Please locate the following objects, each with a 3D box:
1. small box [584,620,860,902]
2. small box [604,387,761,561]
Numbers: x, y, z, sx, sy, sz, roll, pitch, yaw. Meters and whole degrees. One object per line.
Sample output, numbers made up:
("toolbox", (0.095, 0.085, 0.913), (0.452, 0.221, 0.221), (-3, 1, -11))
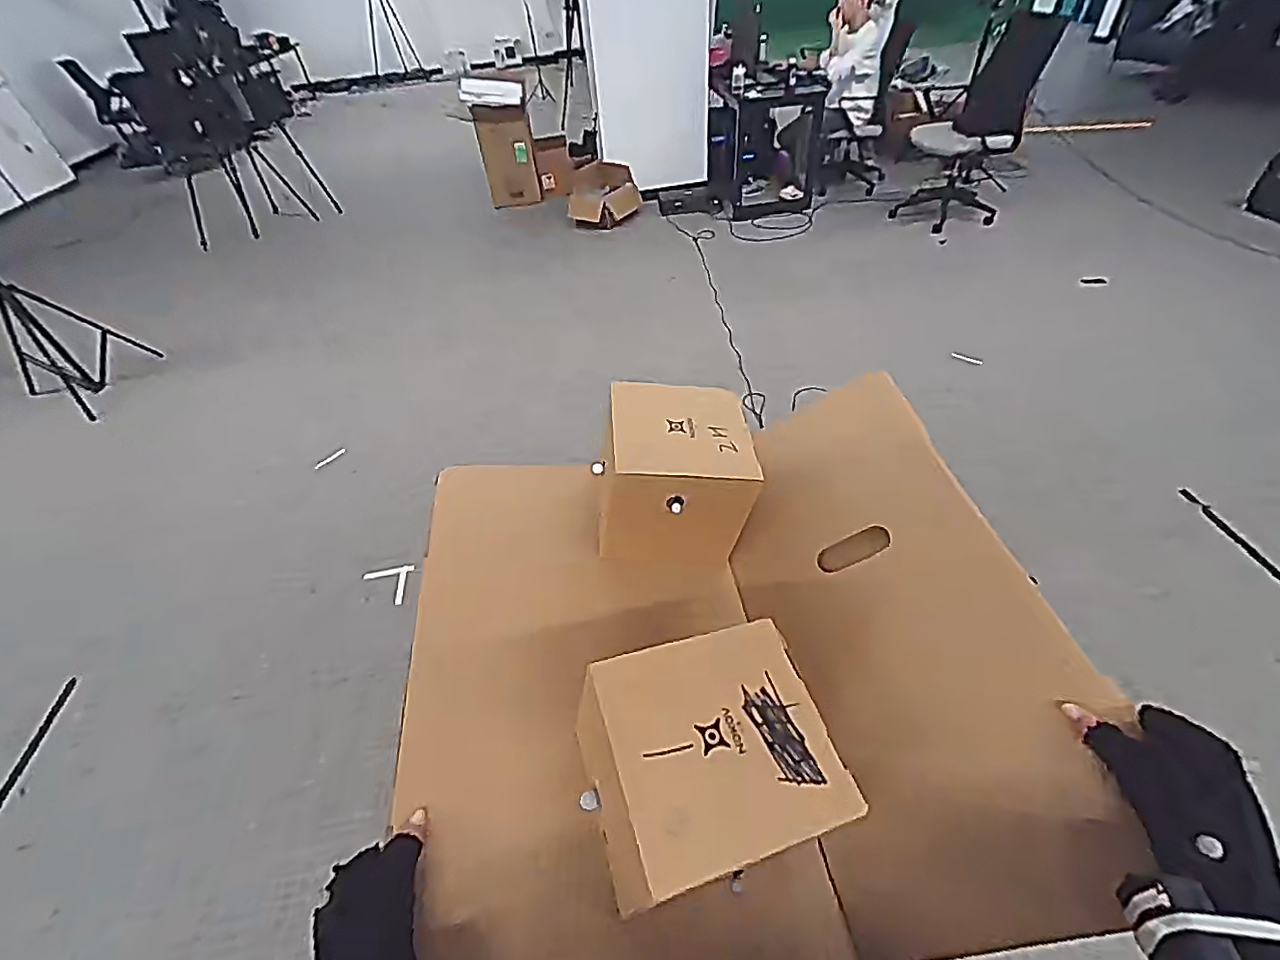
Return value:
("small box", (0.055, 0.255, 0.495), (0.179, 0.176, 0.168), (-9, 50, -18))
("small box", (0.042, -0.004, 0.730), (0.179, 0.176, 0.168), (3, 48, -9))
